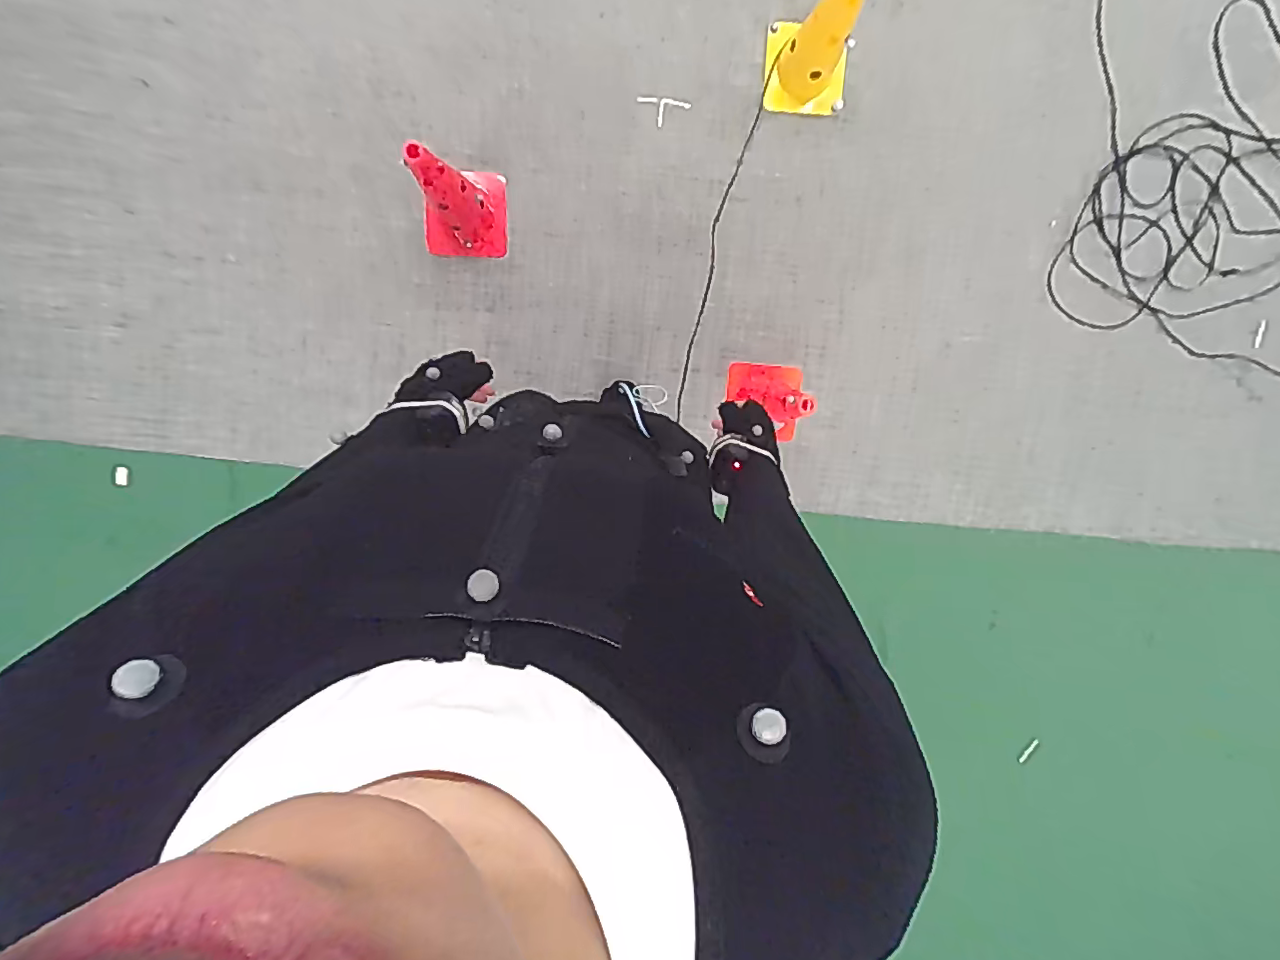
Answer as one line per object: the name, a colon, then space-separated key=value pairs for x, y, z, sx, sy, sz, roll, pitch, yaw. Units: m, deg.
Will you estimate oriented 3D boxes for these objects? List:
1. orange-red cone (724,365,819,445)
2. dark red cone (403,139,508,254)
orange-red cone: x=0.340 y=-0.177 z=1.287 sx=0.198 sy=0.360 sz=0.199 roll=6 pitch=98 yaw=-4
dark red cone: x=-0.419 y=-0.631 z=1.163 sx=0.202 sy=0.394 sz=0.201 roll=0 pitch=100 yaw=-2
